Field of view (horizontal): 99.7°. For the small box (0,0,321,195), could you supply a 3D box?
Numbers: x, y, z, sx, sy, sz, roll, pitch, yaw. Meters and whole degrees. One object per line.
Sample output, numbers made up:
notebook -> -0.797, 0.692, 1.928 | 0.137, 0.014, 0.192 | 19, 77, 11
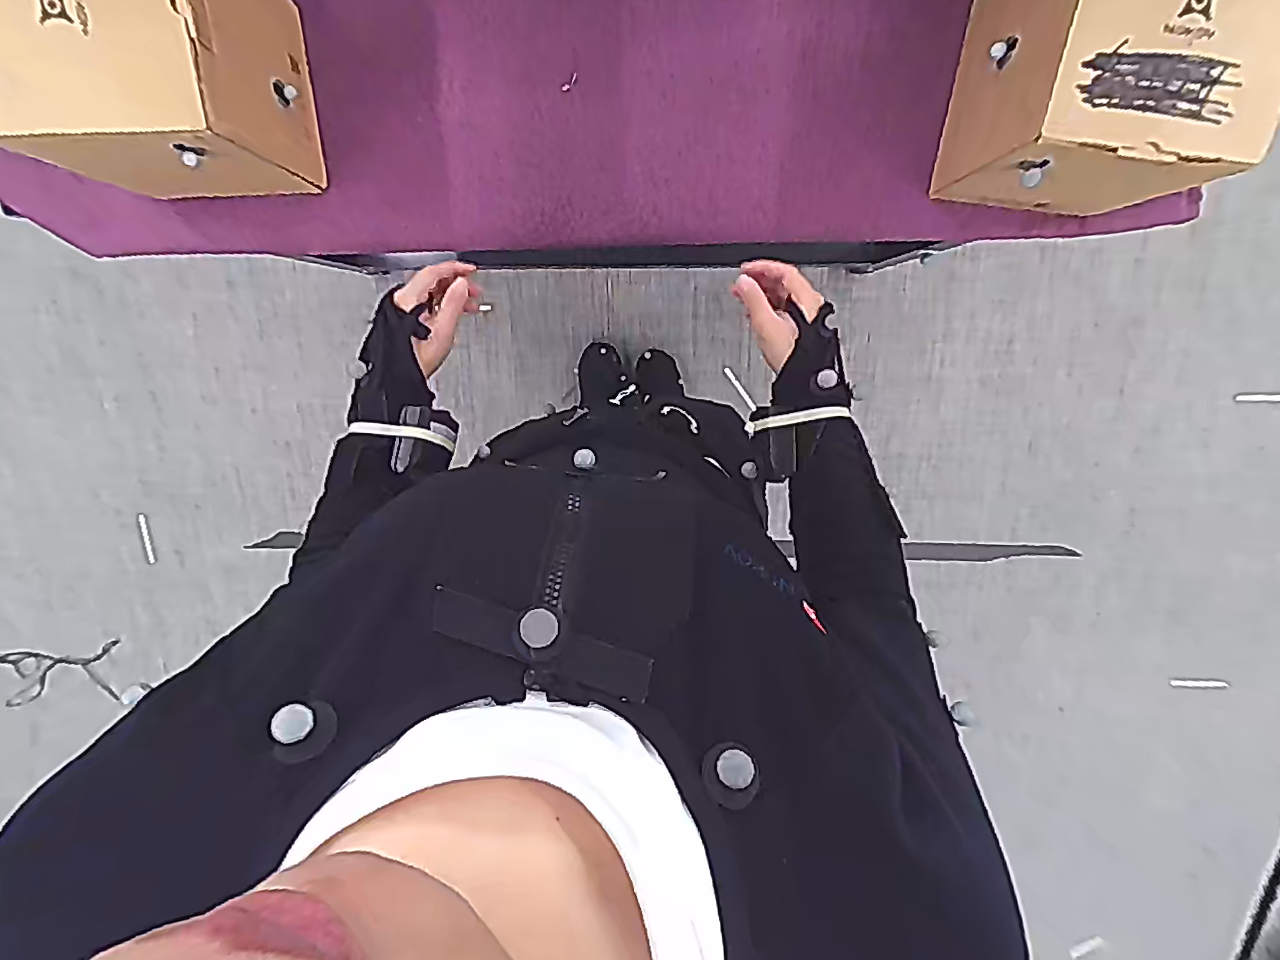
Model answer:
small box -> -0.418, -0.358, 0.466 | 0.179, 0.176, 0.168 | -3, 104, -2
